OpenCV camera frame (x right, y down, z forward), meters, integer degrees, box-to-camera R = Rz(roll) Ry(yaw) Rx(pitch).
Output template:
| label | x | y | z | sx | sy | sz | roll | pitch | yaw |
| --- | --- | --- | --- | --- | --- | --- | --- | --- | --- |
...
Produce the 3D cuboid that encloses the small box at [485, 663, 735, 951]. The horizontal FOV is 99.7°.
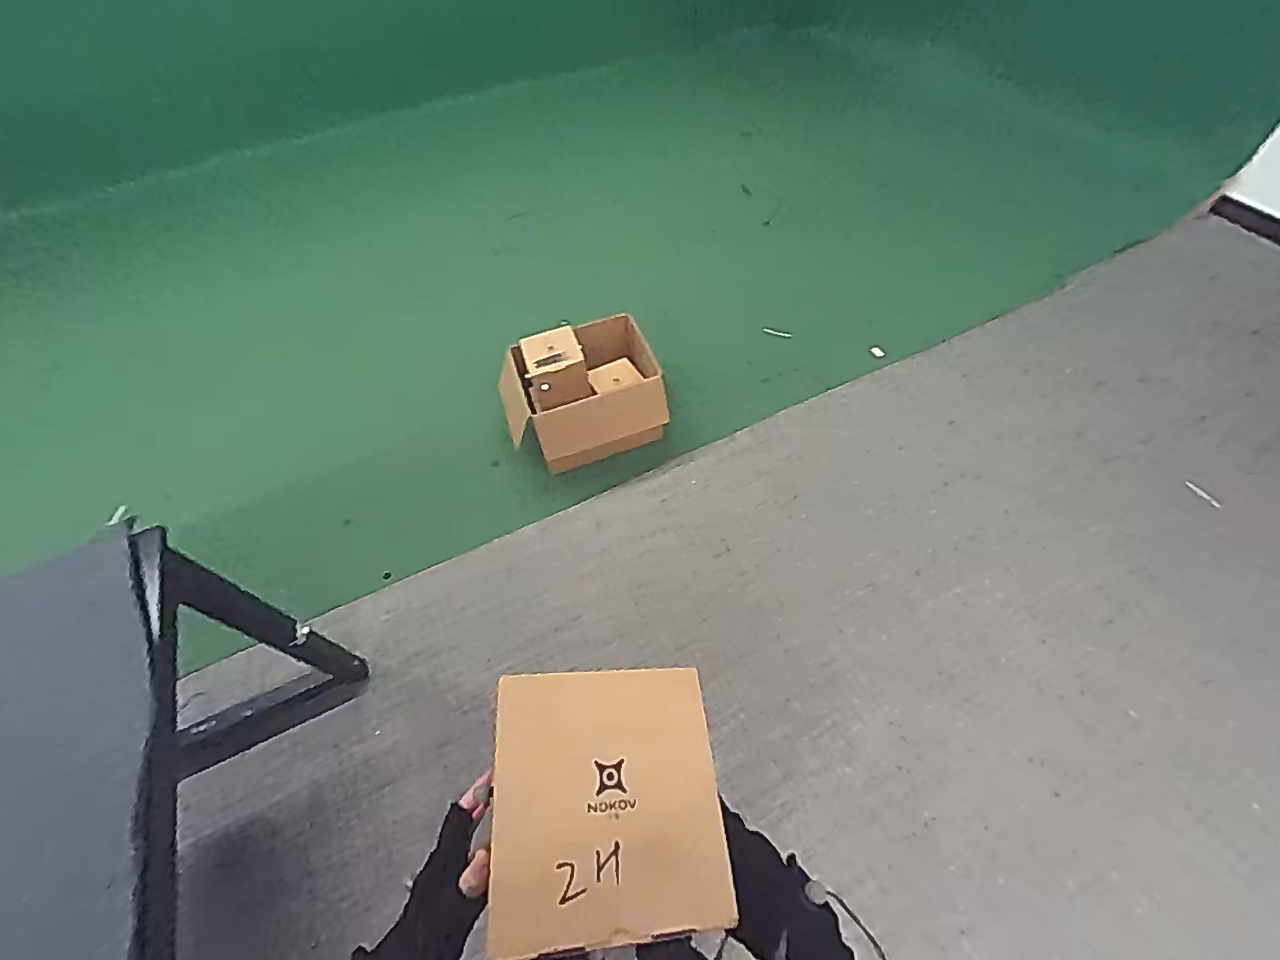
| label | x | y | z | sx | sy | sz | roll | pitch | yaw |
| --- | --- | --- | --- | --- | --- | --- | --- | --- | --- |
| small box | -0.039 | 0.270 | 0.456 | 0.168 | 0.176 | 0.179 | 2 | 52 | -12 |
